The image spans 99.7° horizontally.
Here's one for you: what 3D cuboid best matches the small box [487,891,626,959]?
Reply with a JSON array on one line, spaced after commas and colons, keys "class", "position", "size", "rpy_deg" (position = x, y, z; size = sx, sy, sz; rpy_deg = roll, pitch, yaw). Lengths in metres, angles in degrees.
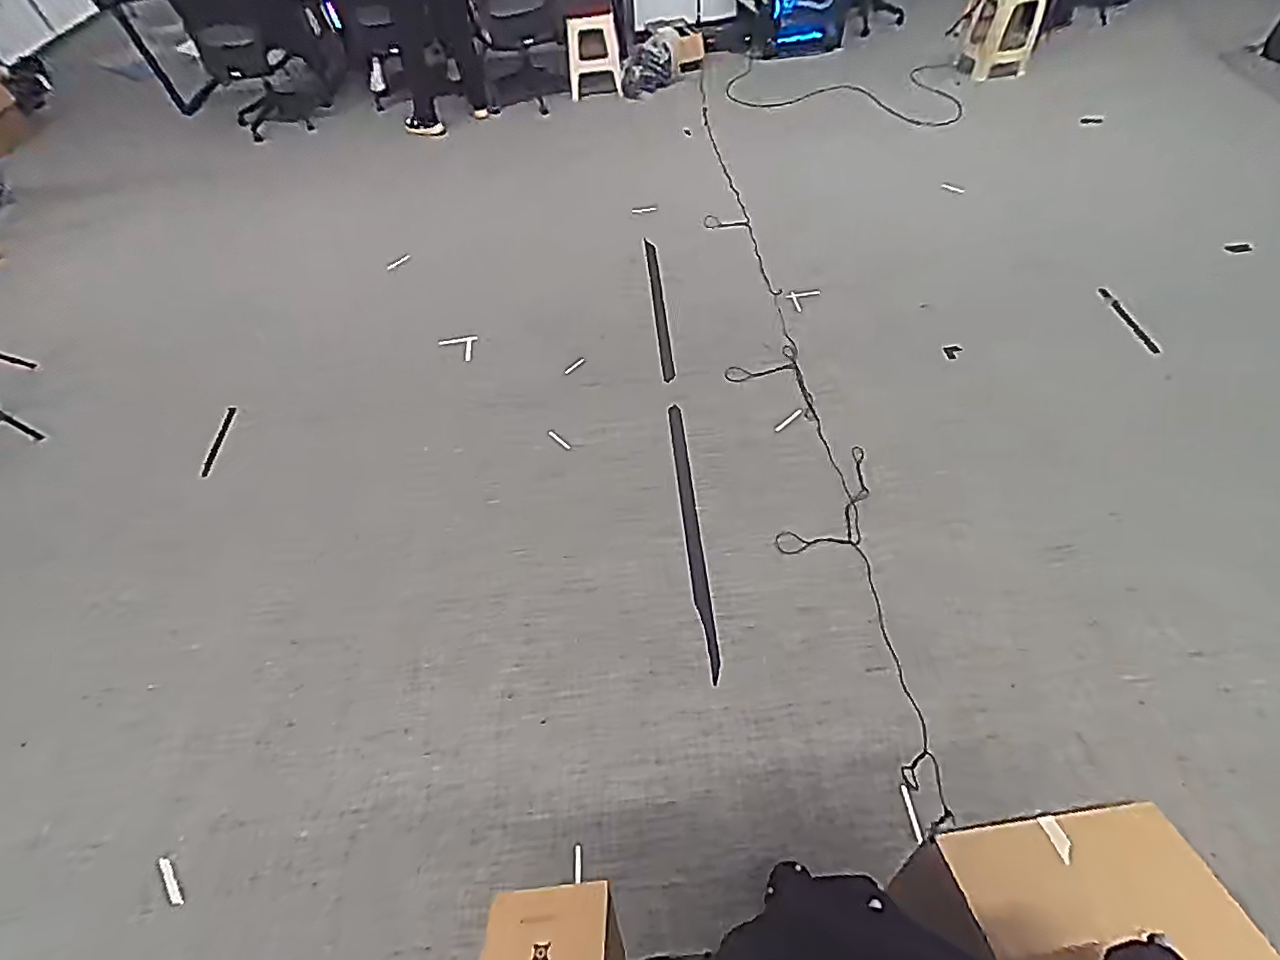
[{"class": "small box", "position": [-0.105, 0.689, 0.702], "size": [0.168, 0.176, 0.179], "rpy_deg": [-8, 15, 3]}]
